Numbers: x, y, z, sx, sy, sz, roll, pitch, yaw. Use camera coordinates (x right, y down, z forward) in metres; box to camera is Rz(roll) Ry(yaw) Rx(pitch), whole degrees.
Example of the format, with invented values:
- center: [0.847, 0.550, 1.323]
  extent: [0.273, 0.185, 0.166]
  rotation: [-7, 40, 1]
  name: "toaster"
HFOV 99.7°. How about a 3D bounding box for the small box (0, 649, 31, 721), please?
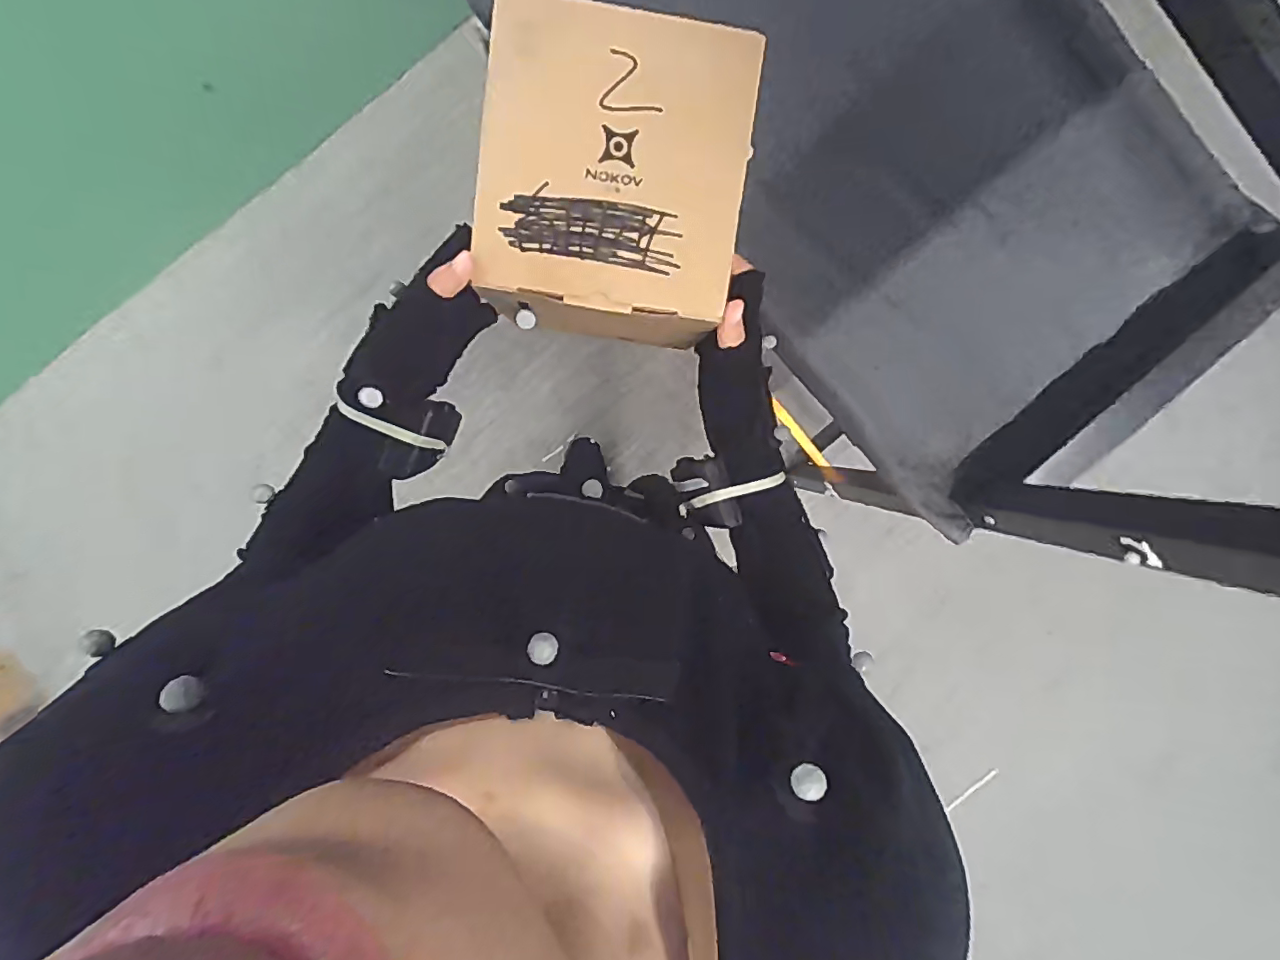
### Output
- center: [-1.724, 0.556, 1.365]
  extent: [0.179, 0.176, 0.168]
  rotation: [-39, 94, 1]
  name: "small box"
